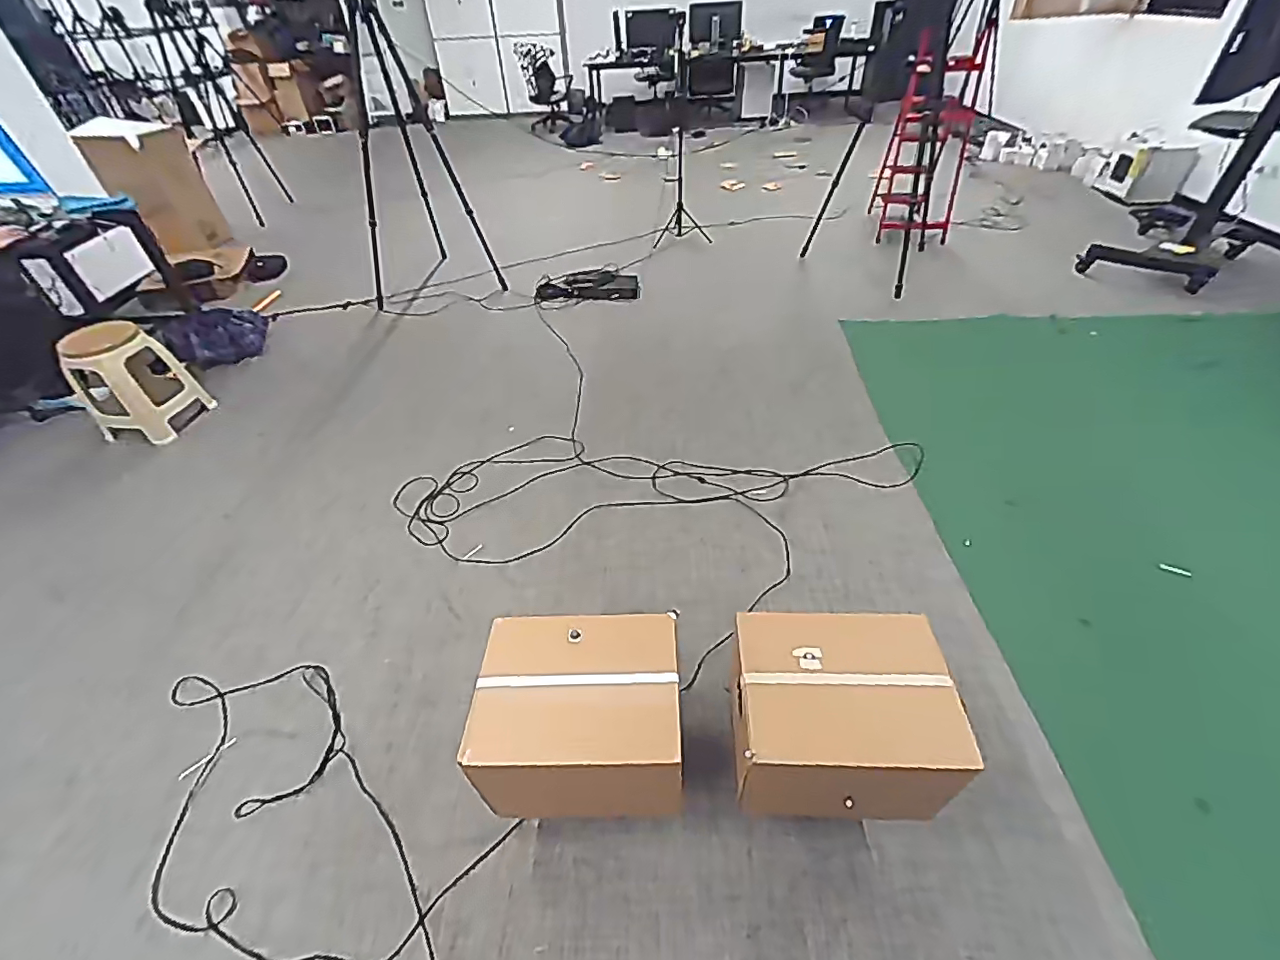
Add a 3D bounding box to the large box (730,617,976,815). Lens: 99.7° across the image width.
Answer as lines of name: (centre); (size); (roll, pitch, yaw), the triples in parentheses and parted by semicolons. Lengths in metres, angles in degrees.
large box: (0.415, 0.513, 1.175); (0.408, 0.320, 0.320); (0, 43, 4)
